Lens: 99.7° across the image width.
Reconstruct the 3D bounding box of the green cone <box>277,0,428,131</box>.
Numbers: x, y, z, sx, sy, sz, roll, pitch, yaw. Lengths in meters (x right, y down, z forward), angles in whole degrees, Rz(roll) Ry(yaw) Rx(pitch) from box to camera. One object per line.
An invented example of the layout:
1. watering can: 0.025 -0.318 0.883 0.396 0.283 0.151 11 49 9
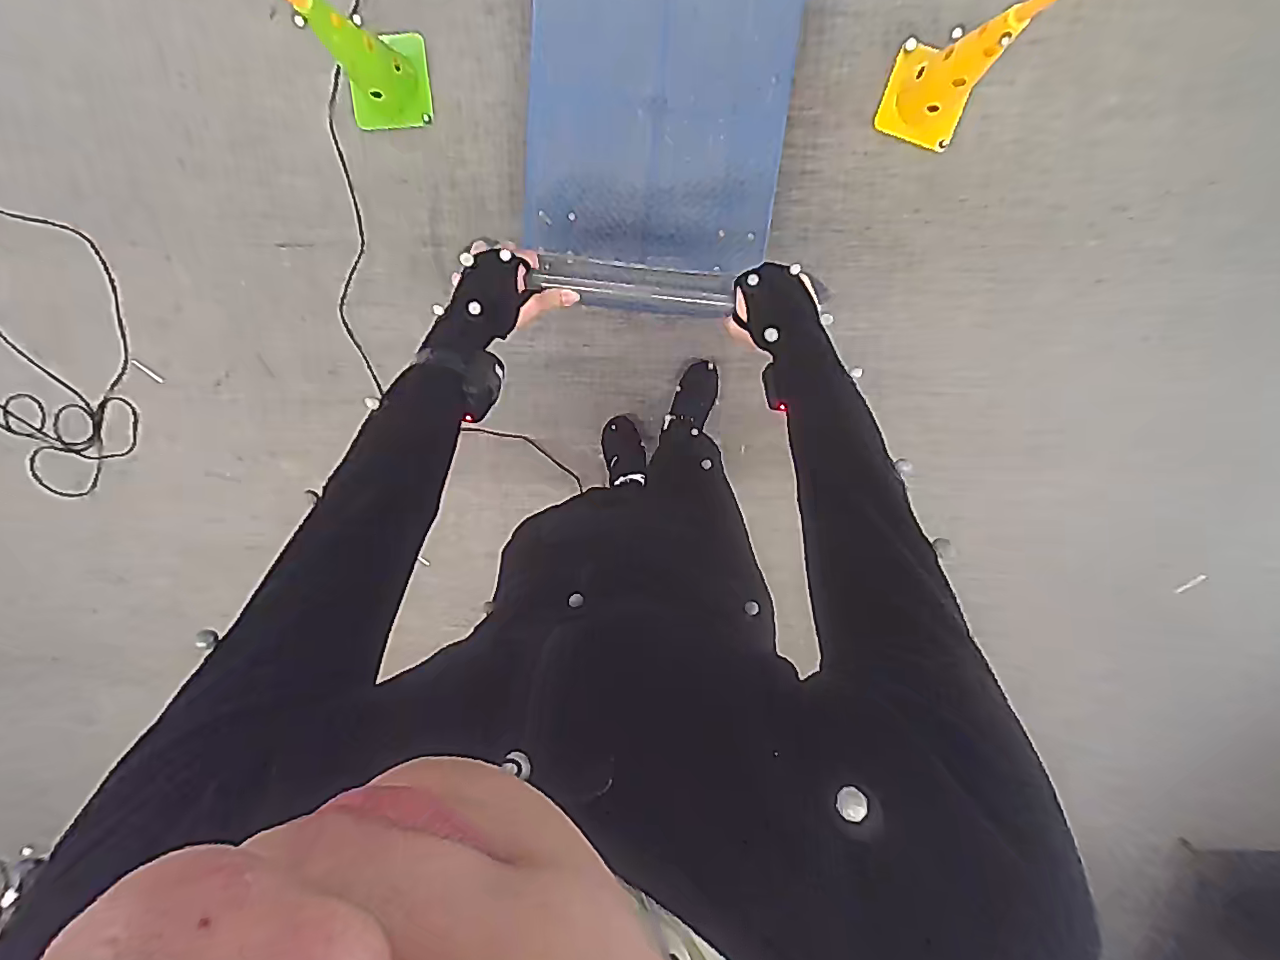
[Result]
1. green cone: -0.638 -0.934 1.164 0.202 0.368 0.200 -3 104 3
